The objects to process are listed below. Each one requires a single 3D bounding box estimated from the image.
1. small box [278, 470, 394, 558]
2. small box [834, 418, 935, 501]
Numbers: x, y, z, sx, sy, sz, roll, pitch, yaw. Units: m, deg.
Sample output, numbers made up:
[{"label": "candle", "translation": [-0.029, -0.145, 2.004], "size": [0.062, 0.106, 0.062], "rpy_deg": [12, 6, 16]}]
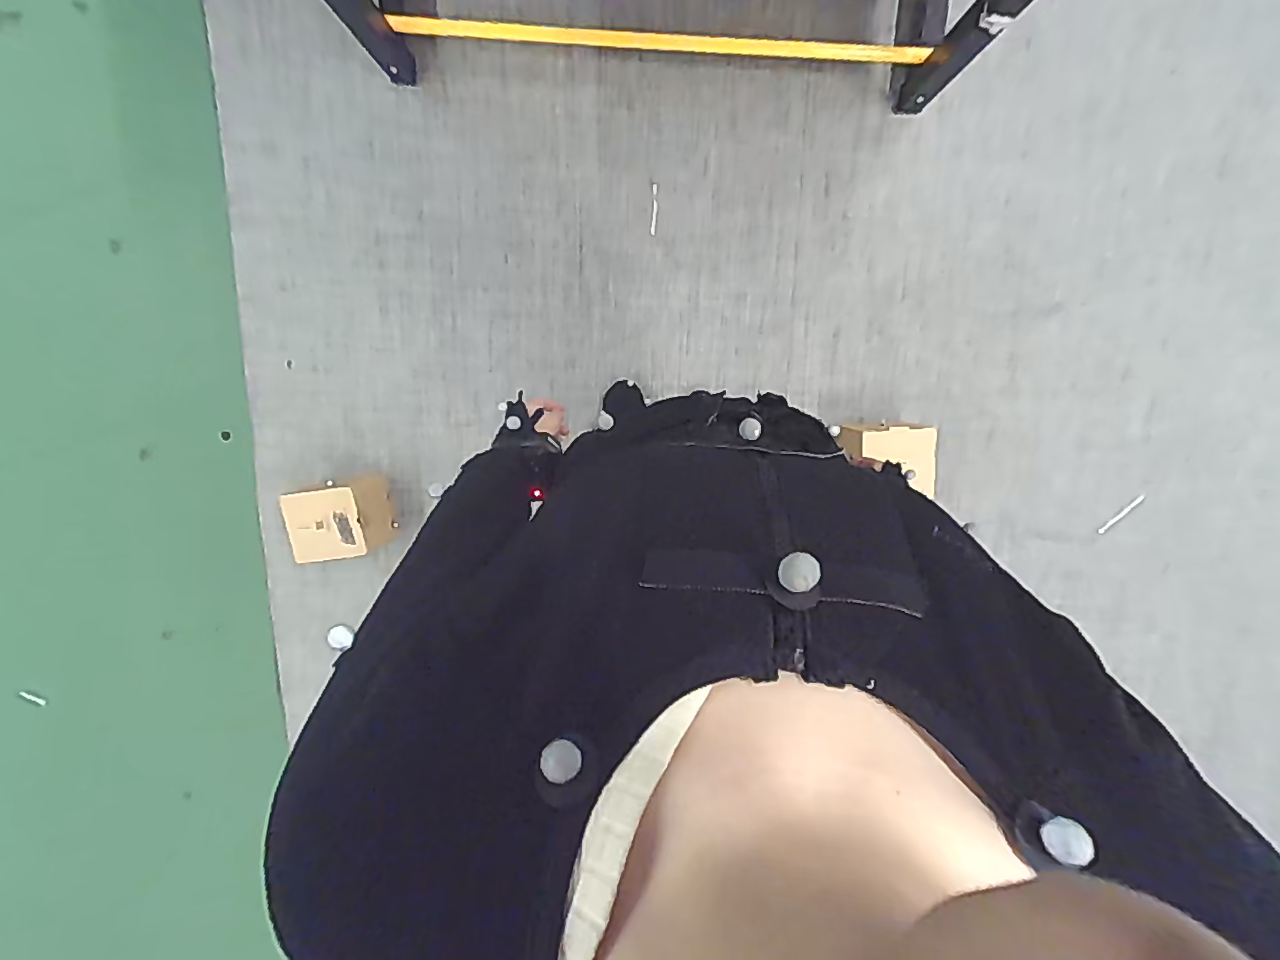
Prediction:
[{"label": "small box", "translation": [-0.719, 0.075, 1.304], "size": [0.179, 0.176, 0.168], "rpy_deg": [-7, 100, 3]}, {"label": "small box", "translation": [0.568, -0.054, 1.274], "size": [0.168, 0.176, 0.179], "rpy_deg": [-3, 100, 1]}]
